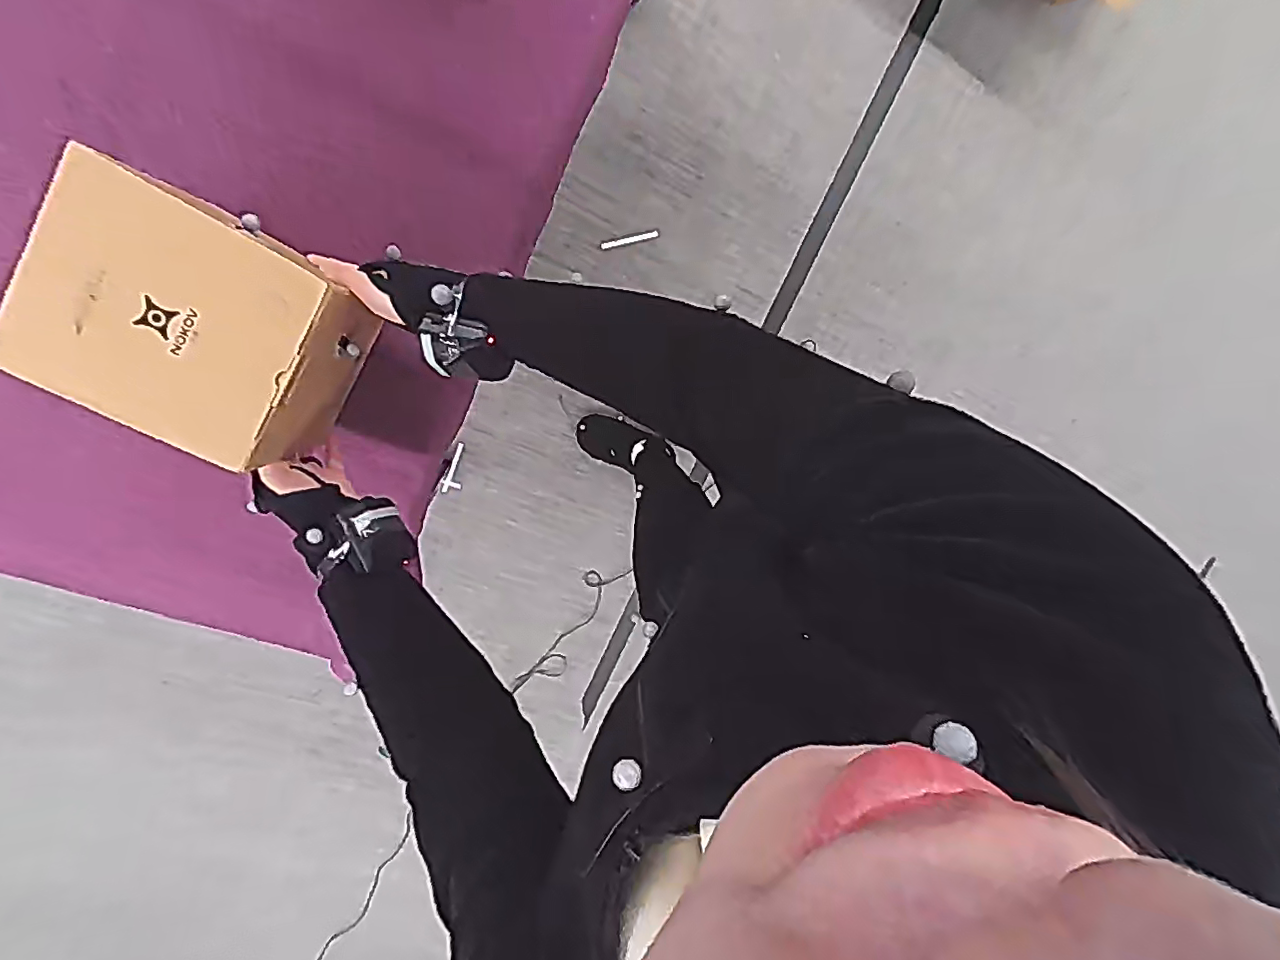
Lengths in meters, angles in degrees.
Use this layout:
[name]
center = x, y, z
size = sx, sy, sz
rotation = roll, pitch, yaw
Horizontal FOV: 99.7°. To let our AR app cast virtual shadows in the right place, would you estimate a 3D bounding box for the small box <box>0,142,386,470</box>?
[small box]
center = -0.349, -0.133, 0.460
size = 0.179, 0.176, 0.168
rotation = 28, 96, -15
